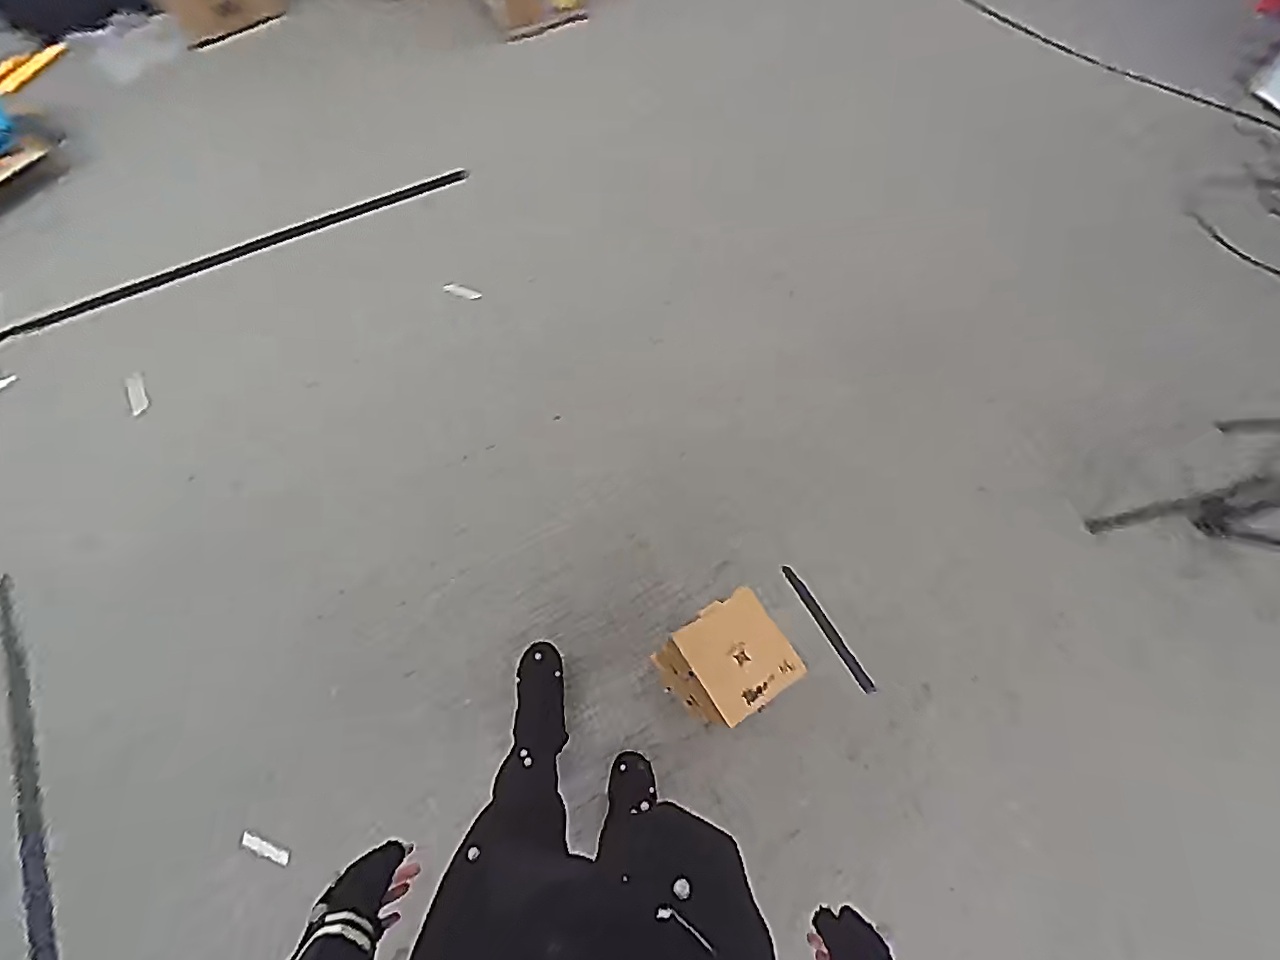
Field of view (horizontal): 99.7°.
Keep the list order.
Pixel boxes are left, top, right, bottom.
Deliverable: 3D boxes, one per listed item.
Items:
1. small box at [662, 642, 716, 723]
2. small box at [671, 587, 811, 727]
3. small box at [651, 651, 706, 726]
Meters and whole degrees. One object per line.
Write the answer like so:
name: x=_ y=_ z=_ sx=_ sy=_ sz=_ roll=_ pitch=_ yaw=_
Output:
small box: x=0.157 y=0.385 z=1.128 sx=0.179 sy=0.176 sz=0.168 roll=-30 pitch=72 yaw=-14
small box: x=0.169 y=0.323 z=0.977 sx=0.168 sy=0.176 sz=0.179 roll=-30 pitch=71 yaw=-12
small box: x=0.142 y=0.452 z=1.275 sx=0.168 sy=0.176 sz=0.179 roll=-34 pitch=70 yaw=-14
